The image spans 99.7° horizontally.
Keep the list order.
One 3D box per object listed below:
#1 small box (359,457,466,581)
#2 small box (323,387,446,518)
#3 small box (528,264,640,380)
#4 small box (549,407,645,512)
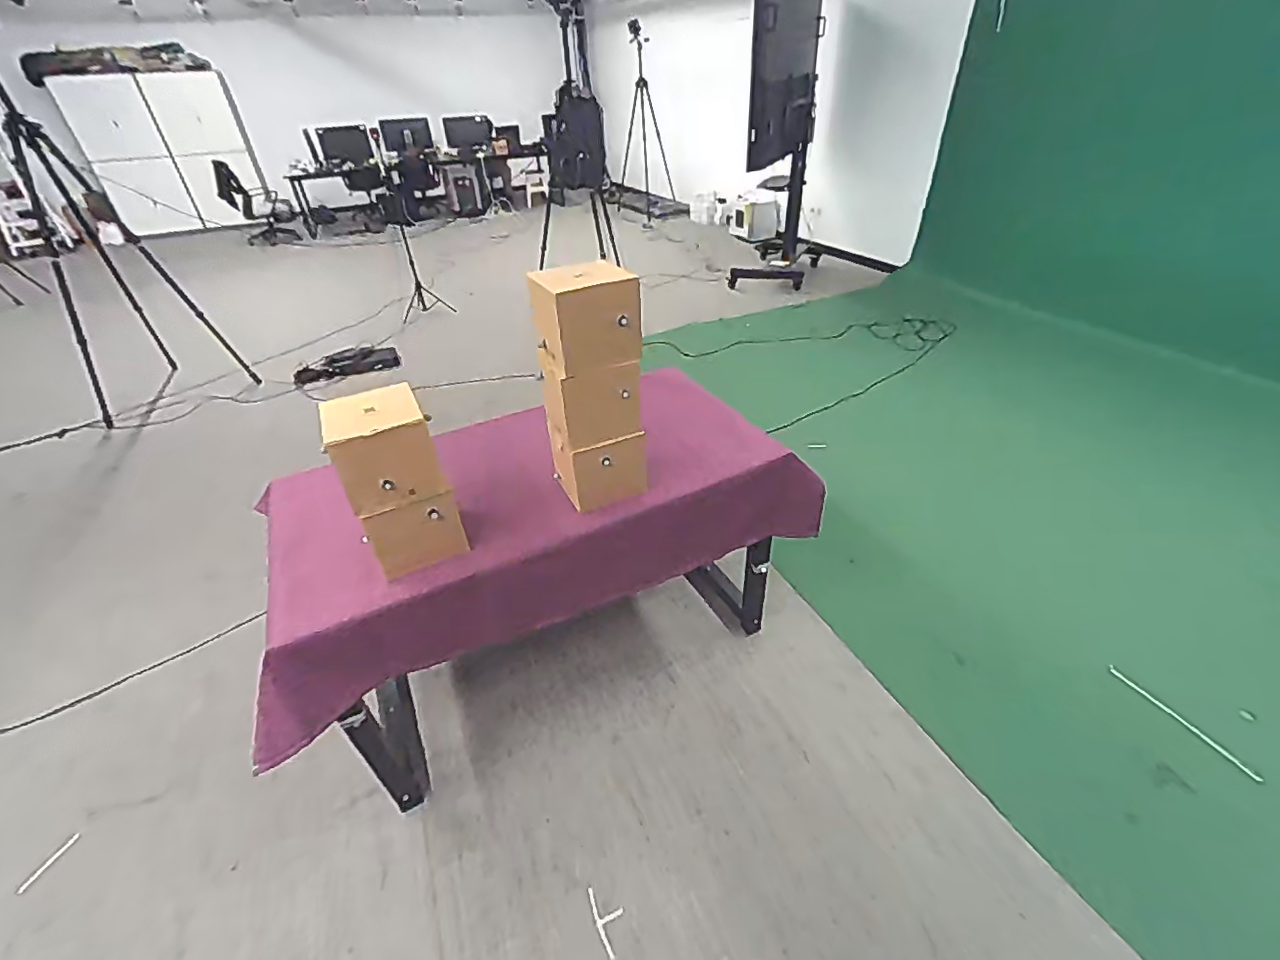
[{"bbox_3d":[-0.478,0.078,1.137,0.179,0.176,0.168,-20,39,-21],"label":"small box"},{"bbox_3d":[-0.491,-0.055,1.043,0.168,0.176,0.179,-20,40,-21],"label":"small box"},{"bbox_3d":[-0.111,-0.323,1.099,0.179,0.176,0.168,-19,39,-21],"label":"small box"},{"bbox_3d":[-0.098,-0.047,1.276,0.179,0.176,0.168,-18,39,-19],"label":"small box"}]
